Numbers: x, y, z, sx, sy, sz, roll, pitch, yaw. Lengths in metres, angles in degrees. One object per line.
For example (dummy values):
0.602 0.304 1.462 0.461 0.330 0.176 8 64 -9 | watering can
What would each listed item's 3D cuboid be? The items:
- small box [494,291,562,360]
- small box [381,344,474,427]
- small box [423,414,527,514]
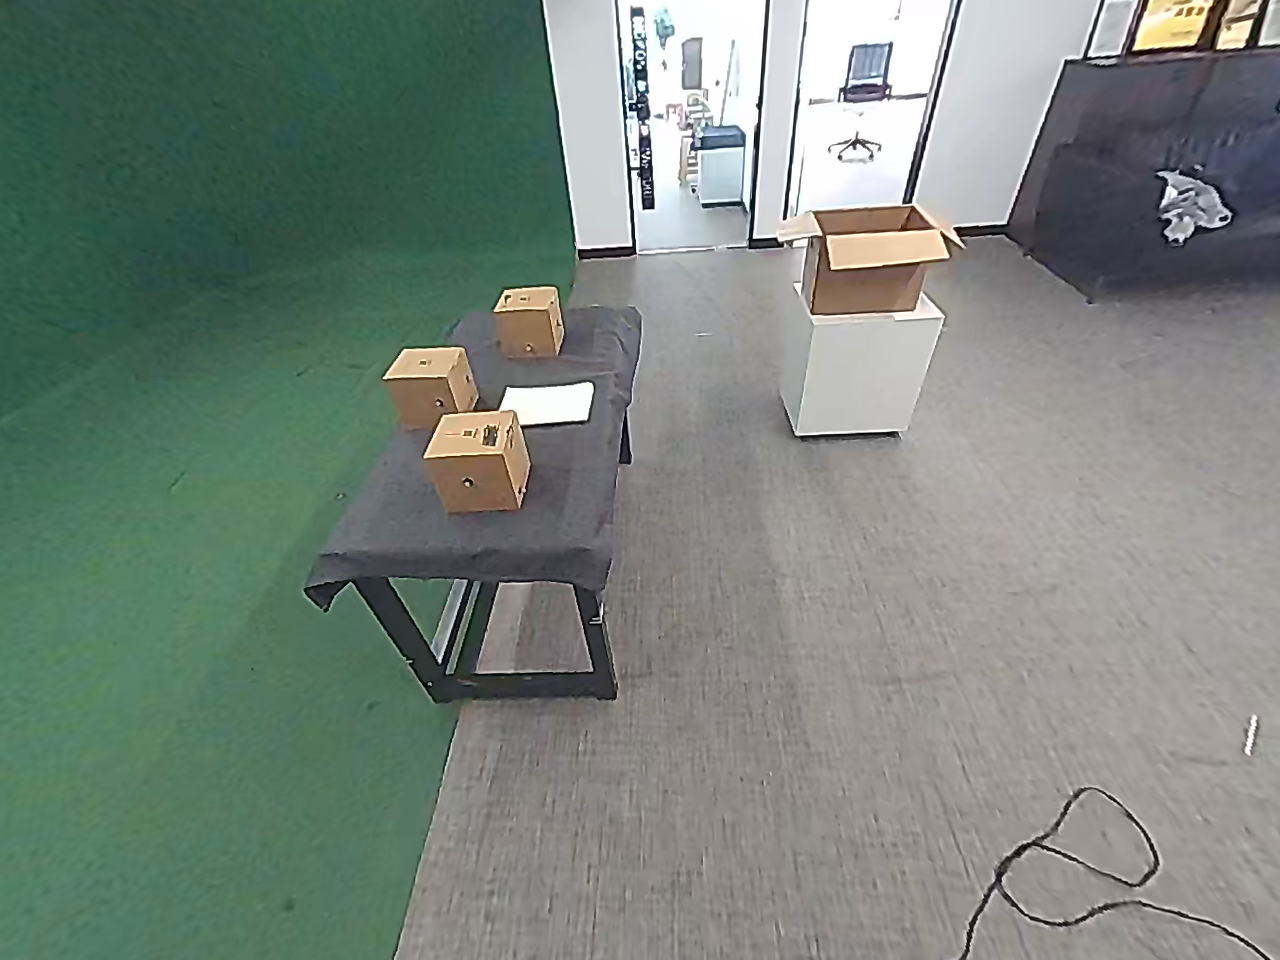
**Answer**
-0.361 -0.508 1.782 0.179 0.176 0.168 0 42 3 | small box
-0.578 -0.260 1.502 0.179 0.176 0.168 -2 41 3 | small box
-0.370 -0.036 1.255 0.179 0.176 0.168 -3 41 2 | small box
